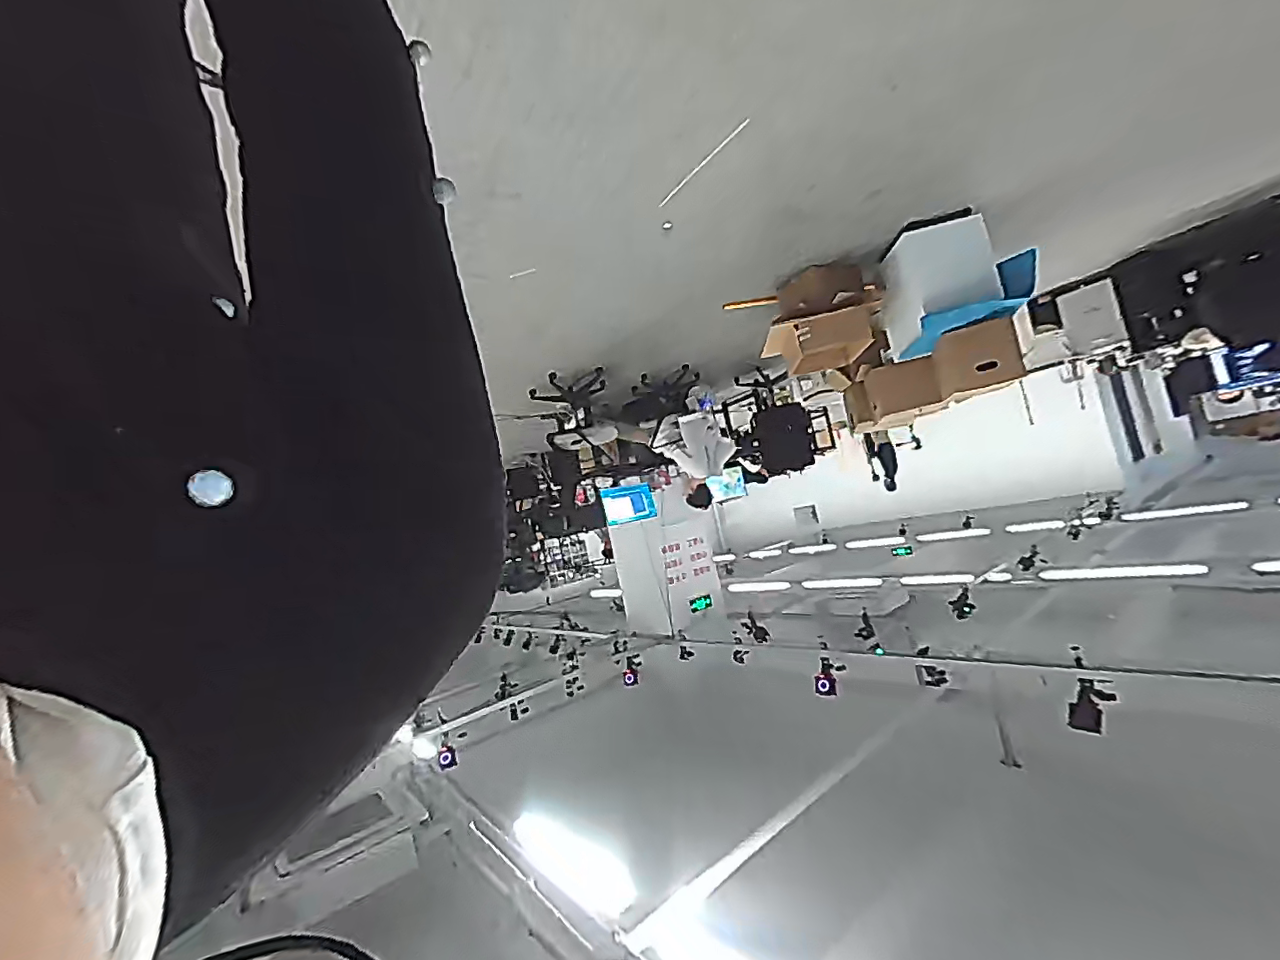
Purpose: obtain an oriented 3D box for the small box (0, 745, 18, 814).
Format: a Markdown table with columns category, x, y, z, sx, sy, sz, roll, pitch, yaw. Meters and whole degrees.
| category | x | y | z | sx | sy | sz | roll | pitch | yaw |
| --- | --- | --- | --- | --- | --- | --- | --- | --- | --- |
| small box | -1.856 | 0.844 | 1.474 | 0.179 | 0.176 | 0.168 | -8 | 176 | -39 |
